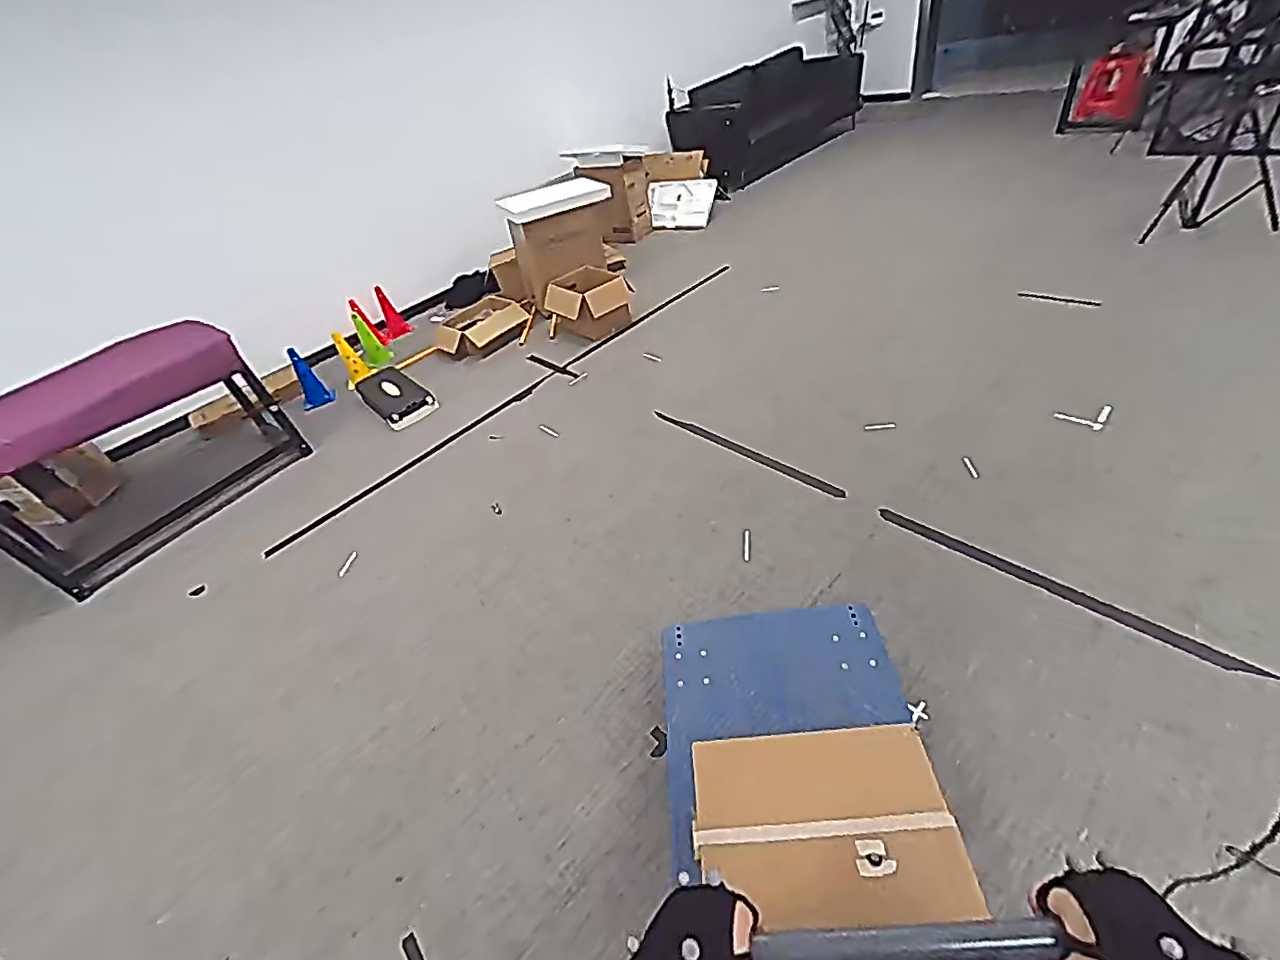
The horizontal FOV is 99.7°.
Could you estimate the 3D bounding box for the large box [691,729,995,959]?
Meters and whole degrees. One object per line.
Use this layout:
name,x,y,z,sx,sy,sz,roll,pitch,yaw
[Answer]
large box,0.318,0.685,0.969,0.408,0.320,0.320,-8,42,6
